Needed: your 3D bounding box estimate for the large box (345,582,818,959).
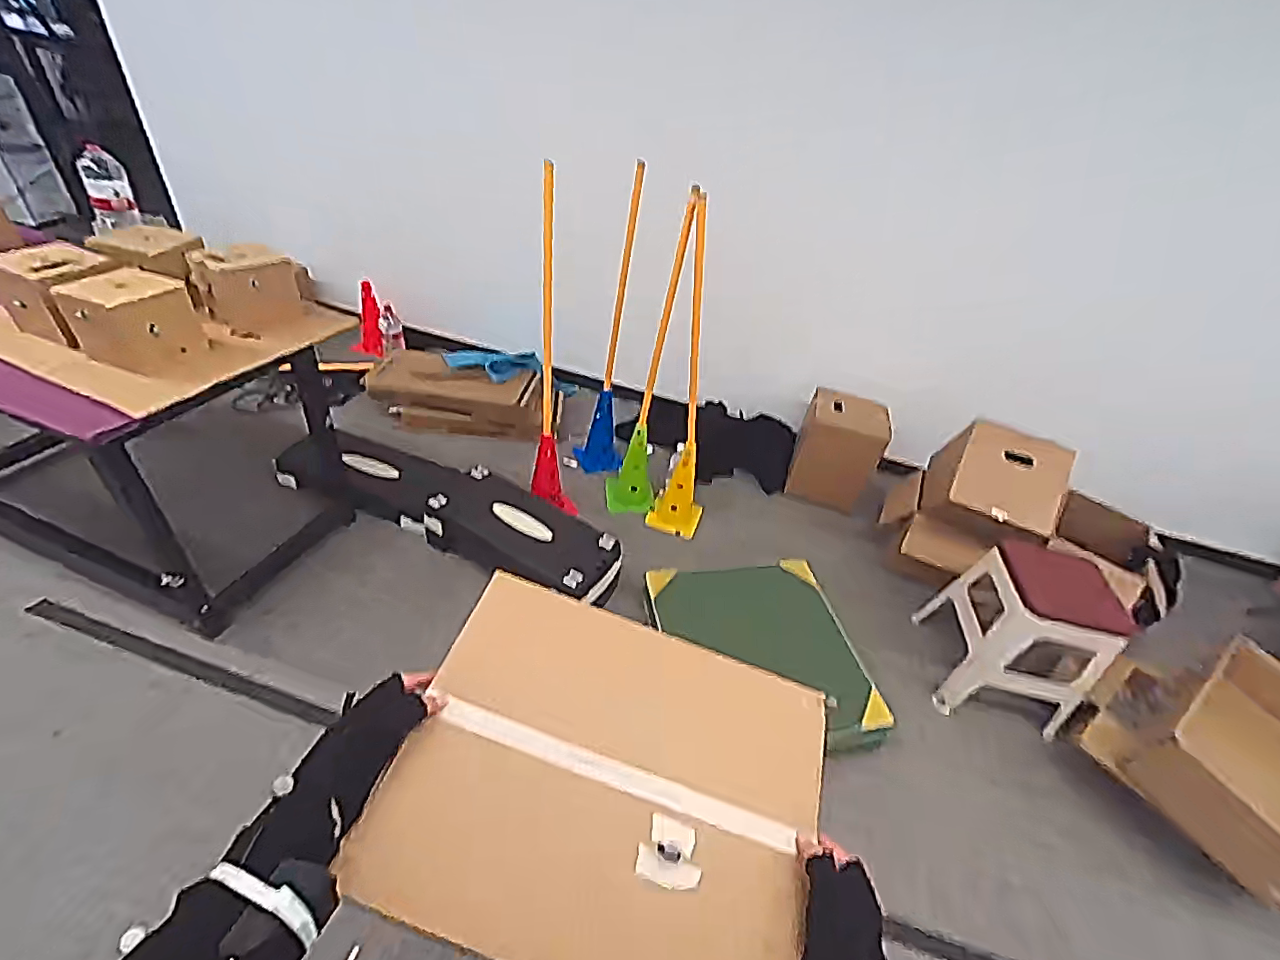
[{"bbox_3d":[-0.051,0.385,0.649,0.408,0.320,0.320,20,49,3],"label":"large box"}]
